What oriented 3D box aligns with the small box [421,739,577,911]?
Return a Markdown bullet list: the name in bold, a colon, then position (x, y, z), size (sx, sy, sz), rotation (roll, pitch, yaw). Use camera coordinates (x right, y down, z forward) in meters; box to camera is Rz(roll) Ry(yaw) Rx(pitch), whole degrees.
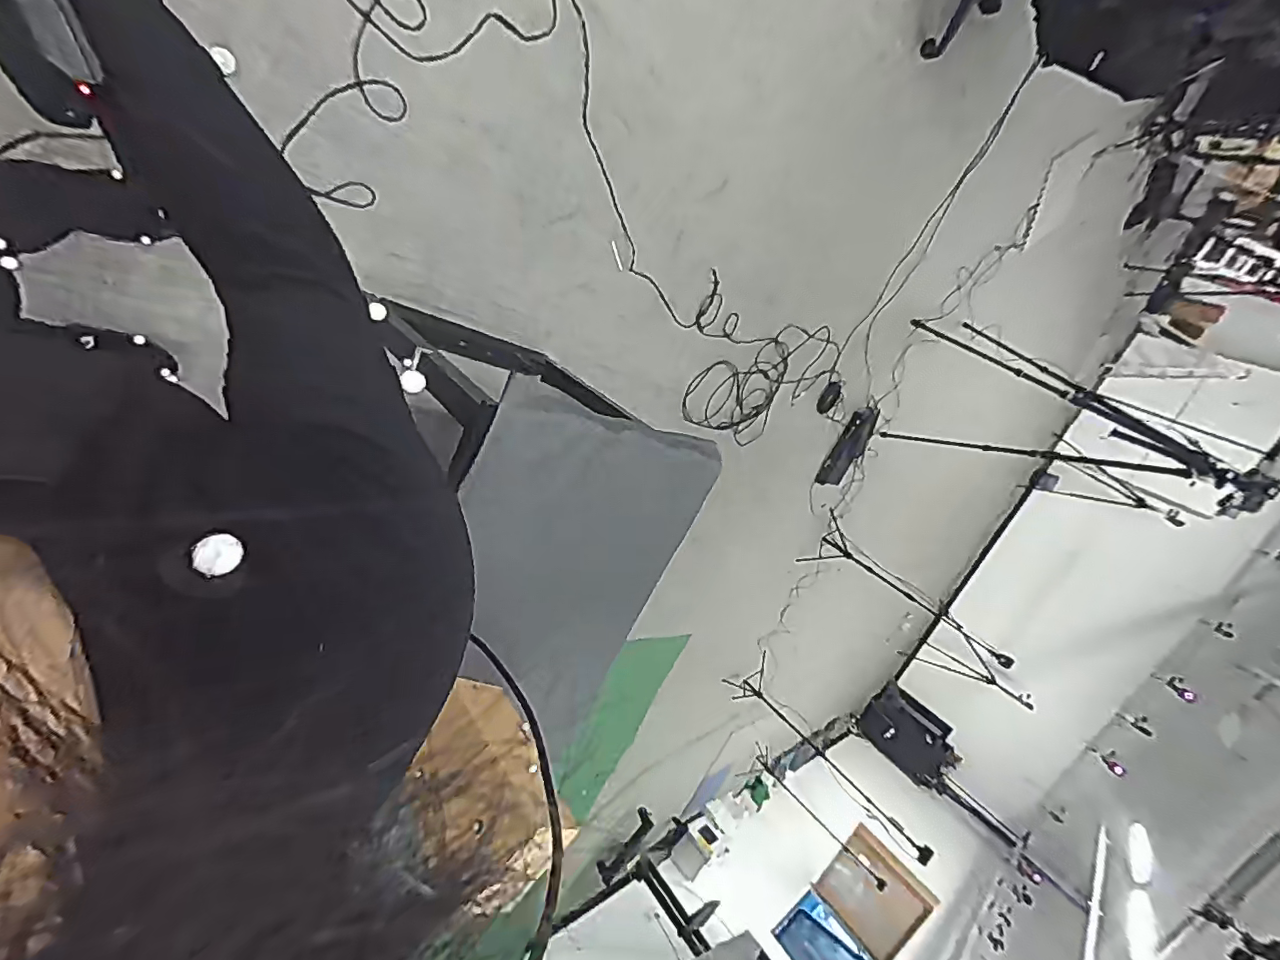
- **small box**: position (-0.247, 0.584, 0.926), size (0.179, 0.176, 0.168), rotation (-44, 143, -10)
